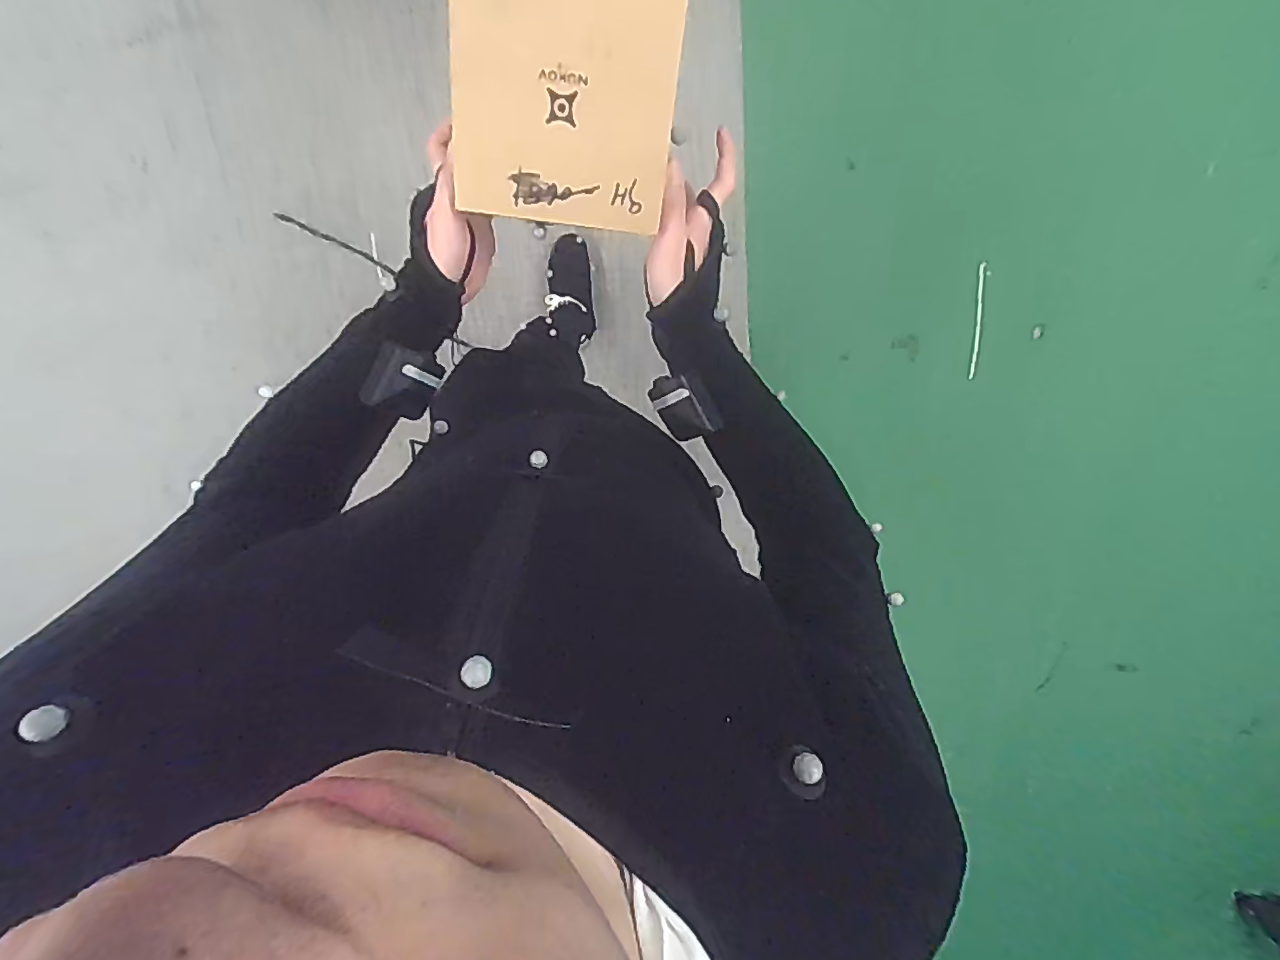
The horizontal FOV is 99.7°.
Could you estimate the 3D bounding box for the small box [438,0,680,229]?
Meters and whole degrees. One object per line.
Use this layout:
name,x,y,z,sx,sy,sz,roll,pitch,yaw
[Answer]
small box,-0.061,-0.319,0.458,0.168,0.176,0.179,7,115,-2

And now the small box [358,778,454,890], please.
small box,-0.571,0.877,1.344,0.168,0.176,0.179,0,105,-2
